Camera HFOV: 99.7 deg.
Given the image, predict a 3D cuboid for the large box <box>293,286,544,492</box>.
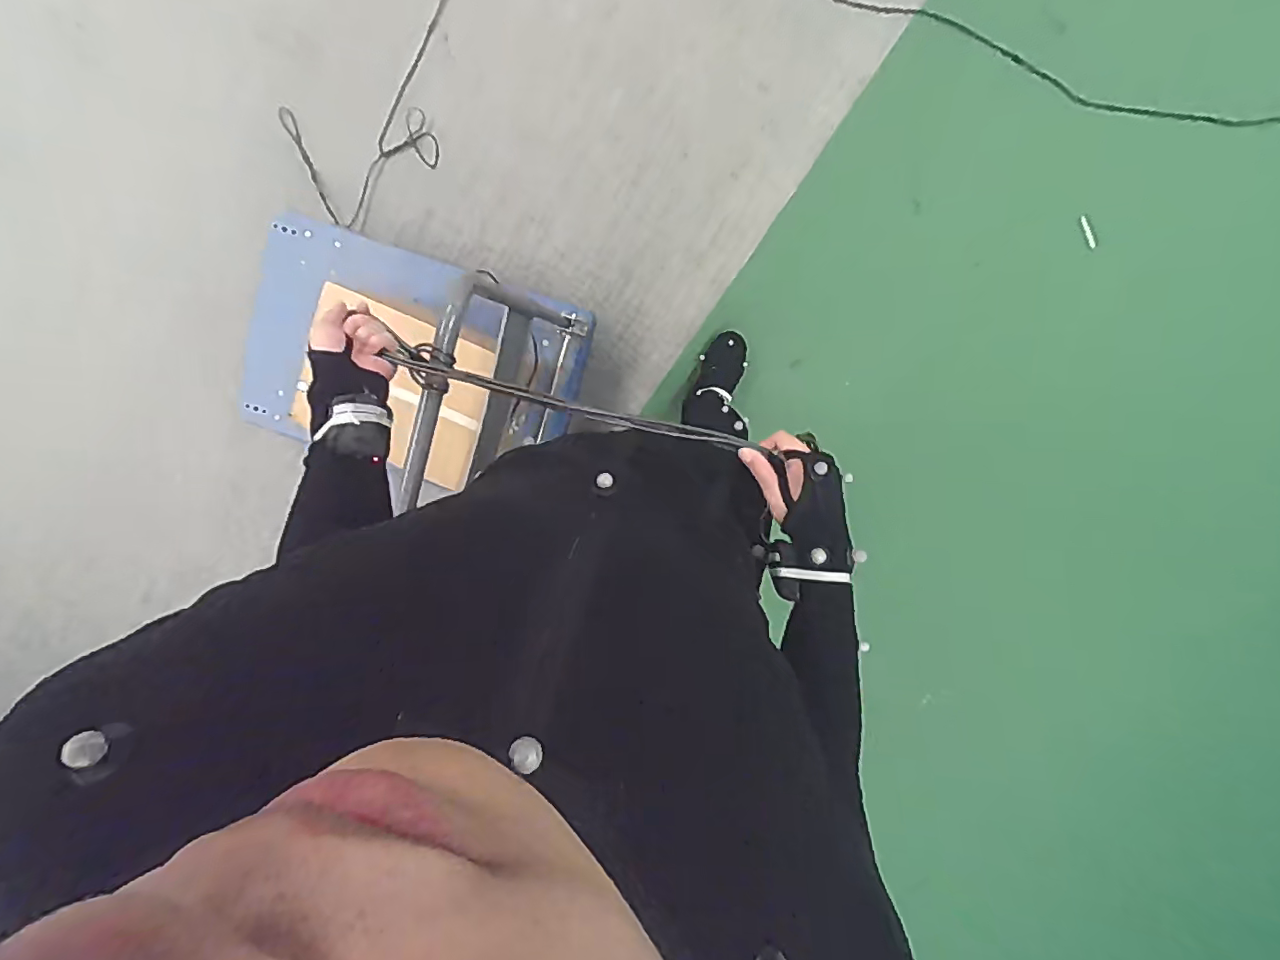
[{"bbox_3d":[-0.491,-0.214,1.267,0.408,0.320,0.320,24,103,0],"label":"large box"}]
